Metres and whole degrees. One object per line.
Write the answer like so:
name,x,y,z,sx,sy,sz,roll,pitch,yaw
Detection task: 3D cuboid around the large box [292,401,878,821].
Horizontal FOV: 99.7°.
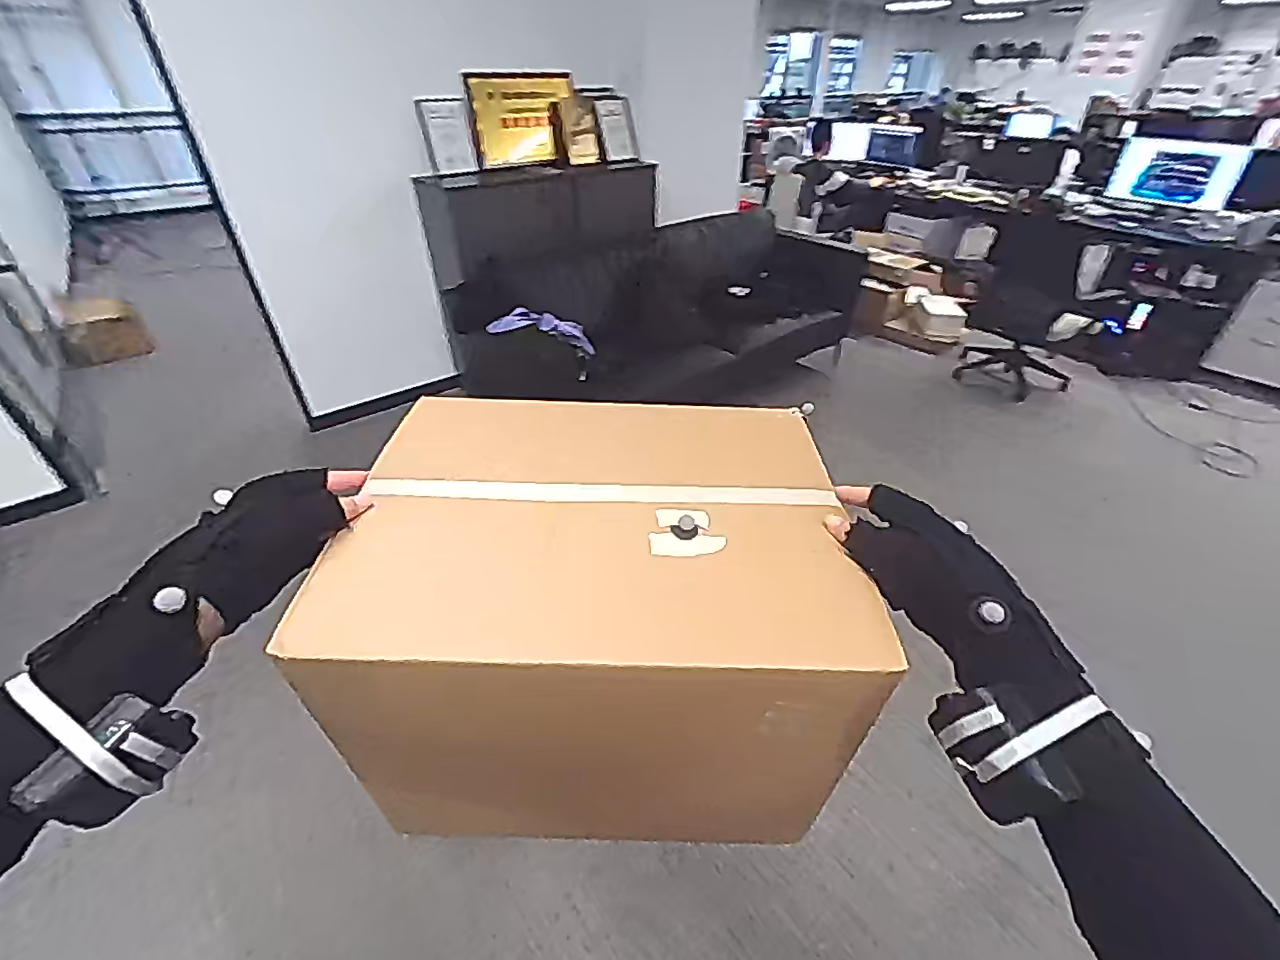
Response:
large box,-0.043,0.131,0.568,0.408,0.320,0.320,2,40,-2
